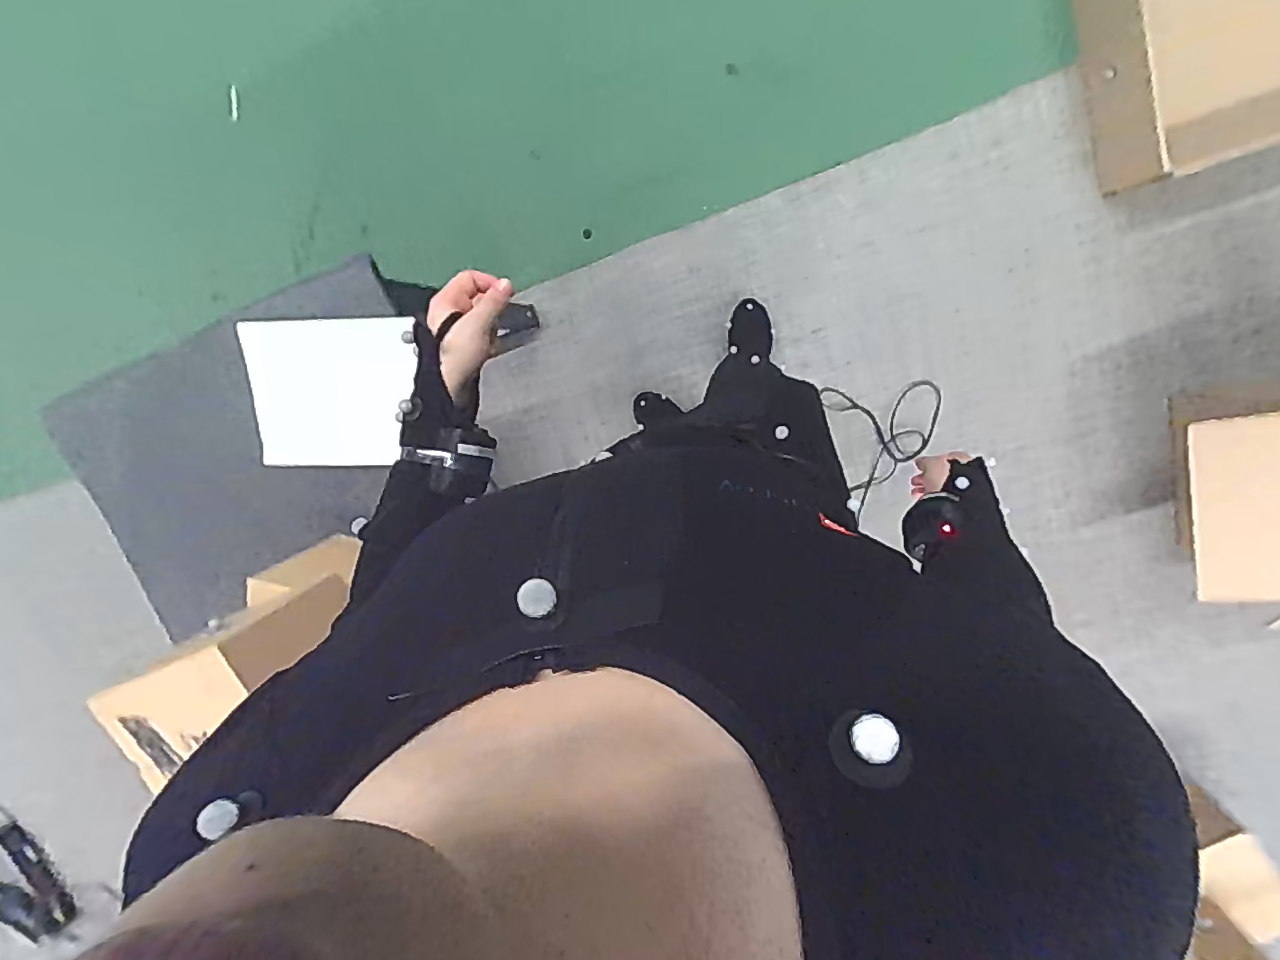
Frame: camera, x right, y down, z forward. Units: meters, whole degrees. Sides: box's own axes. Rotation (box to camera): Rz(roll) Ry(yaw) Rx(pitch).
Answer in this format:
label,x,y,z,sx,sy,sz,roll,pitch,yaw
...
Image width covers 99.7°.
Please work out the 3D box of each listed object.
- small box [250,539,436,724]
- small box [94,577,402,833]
label,x,y,z,sx,sy,sz,roll,pitch,yaw
small box,-0.400,0.198,0.754,0.168,0.176,0.179,10,106,4
small box,-0.405,0.233,0.592,0.179,0.176,0.168,-23,102,12
